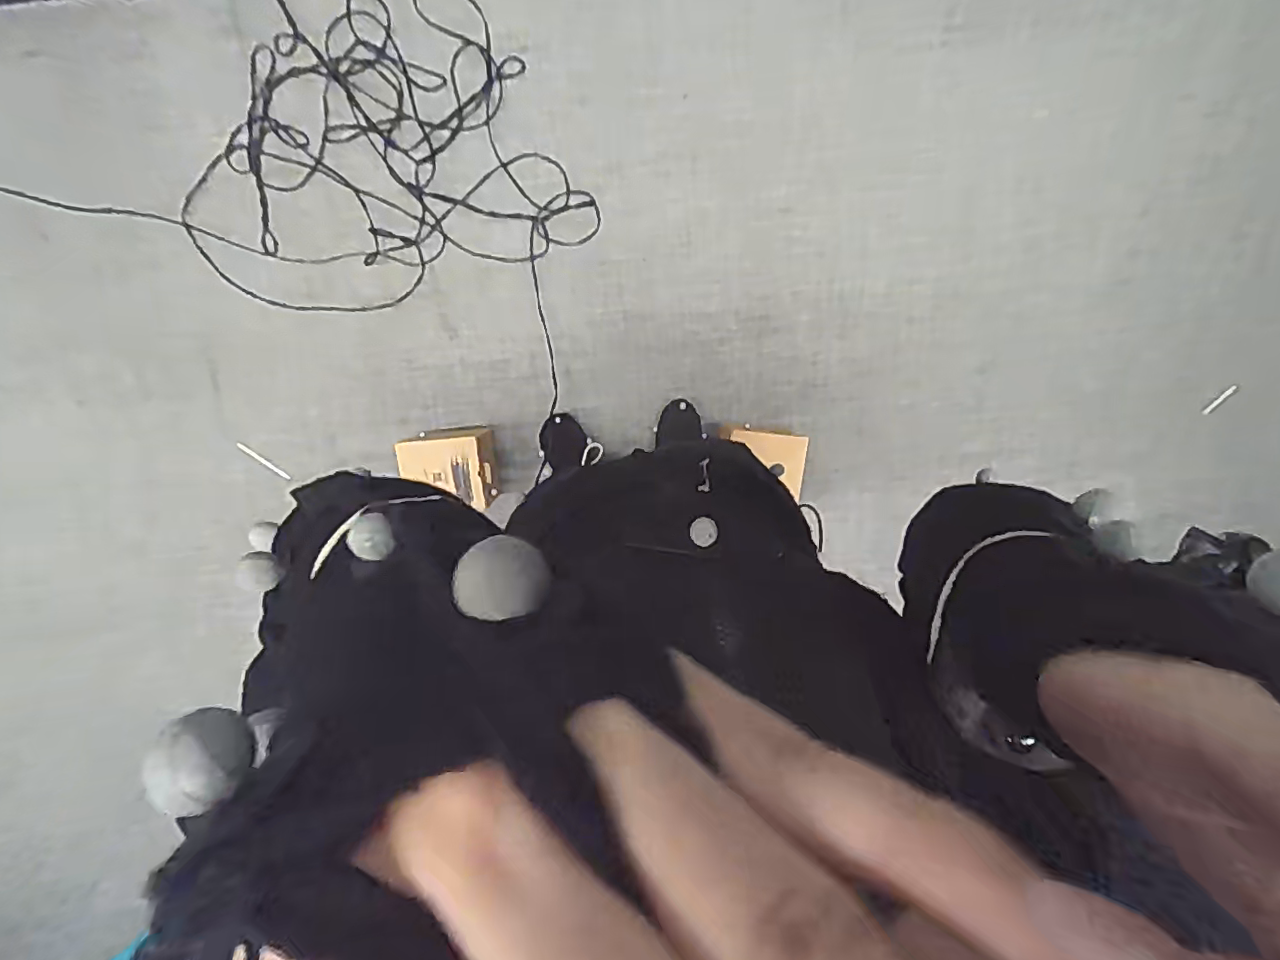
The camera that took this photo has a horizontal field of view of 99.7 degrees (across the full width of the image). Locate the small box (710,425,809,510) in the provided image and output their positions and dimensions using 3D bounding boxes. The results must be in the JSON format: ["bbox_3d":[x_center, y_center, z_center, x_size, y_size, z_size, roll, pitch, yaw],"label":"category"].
[{"bbox_3d":[0.276,-0.035,1.280,0.179,0.176,0.168,5,102,-4],"label":"small box"}]
